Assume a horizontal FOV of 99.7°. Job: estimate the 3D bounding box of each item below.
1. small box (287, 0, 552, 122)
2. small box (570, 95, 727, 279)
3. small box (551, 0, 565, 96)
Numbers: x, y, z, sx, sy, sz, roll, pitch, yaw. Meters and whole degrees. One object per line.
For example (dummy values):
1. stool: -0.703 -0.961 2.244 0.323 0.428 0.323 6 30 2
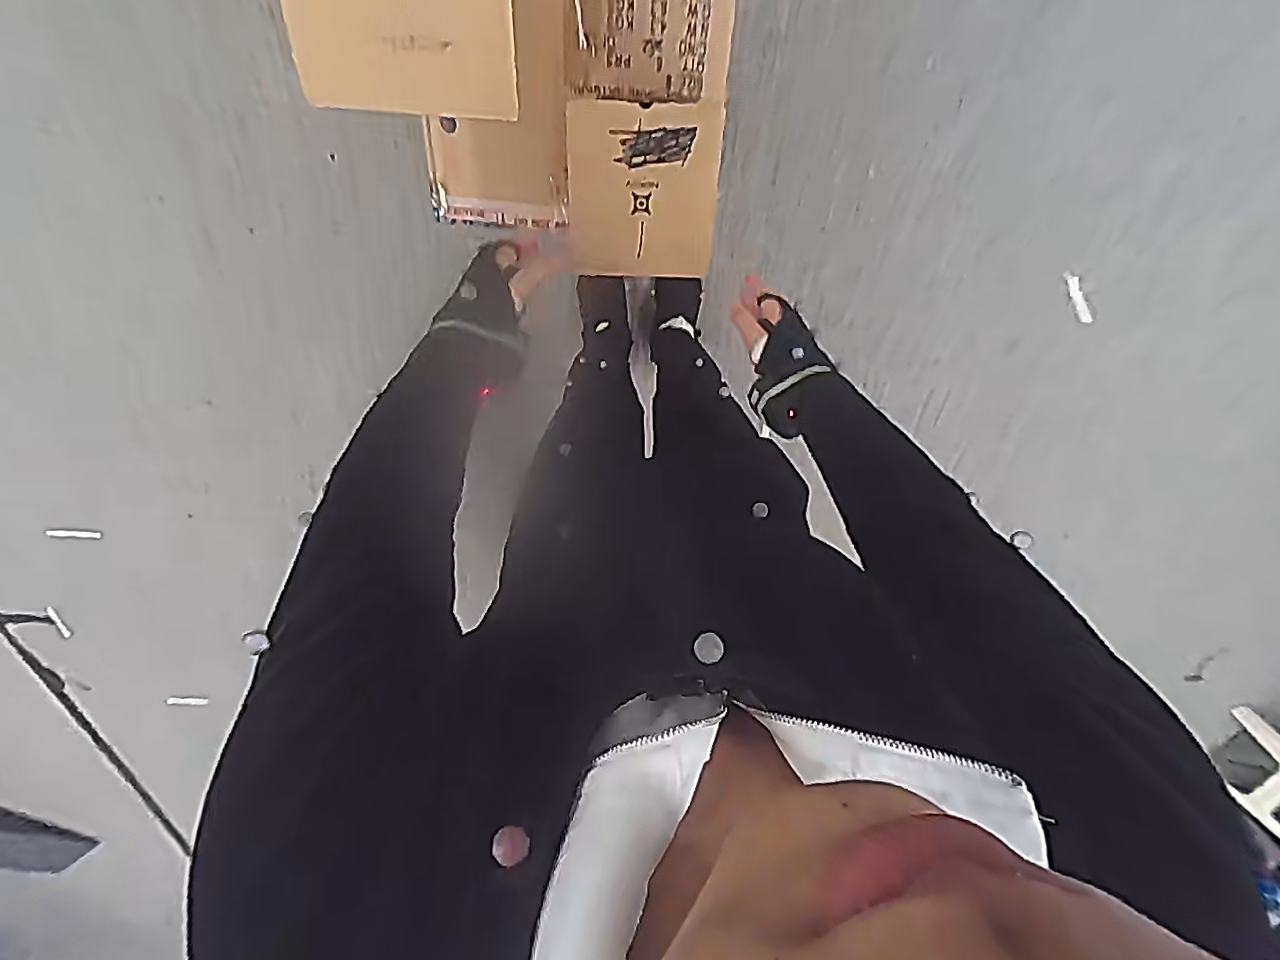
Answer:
1. small box: -0.165 -0.400 0.436 0.168 0.176 0.179 3 126 -1
2. small box: 0.002 -0.360 0.663 0.168 0.176 0.179 1 125 -2
3. small box: -0.170 -0.510 0.557 0.168 0.176 0.179 3 125 -2
